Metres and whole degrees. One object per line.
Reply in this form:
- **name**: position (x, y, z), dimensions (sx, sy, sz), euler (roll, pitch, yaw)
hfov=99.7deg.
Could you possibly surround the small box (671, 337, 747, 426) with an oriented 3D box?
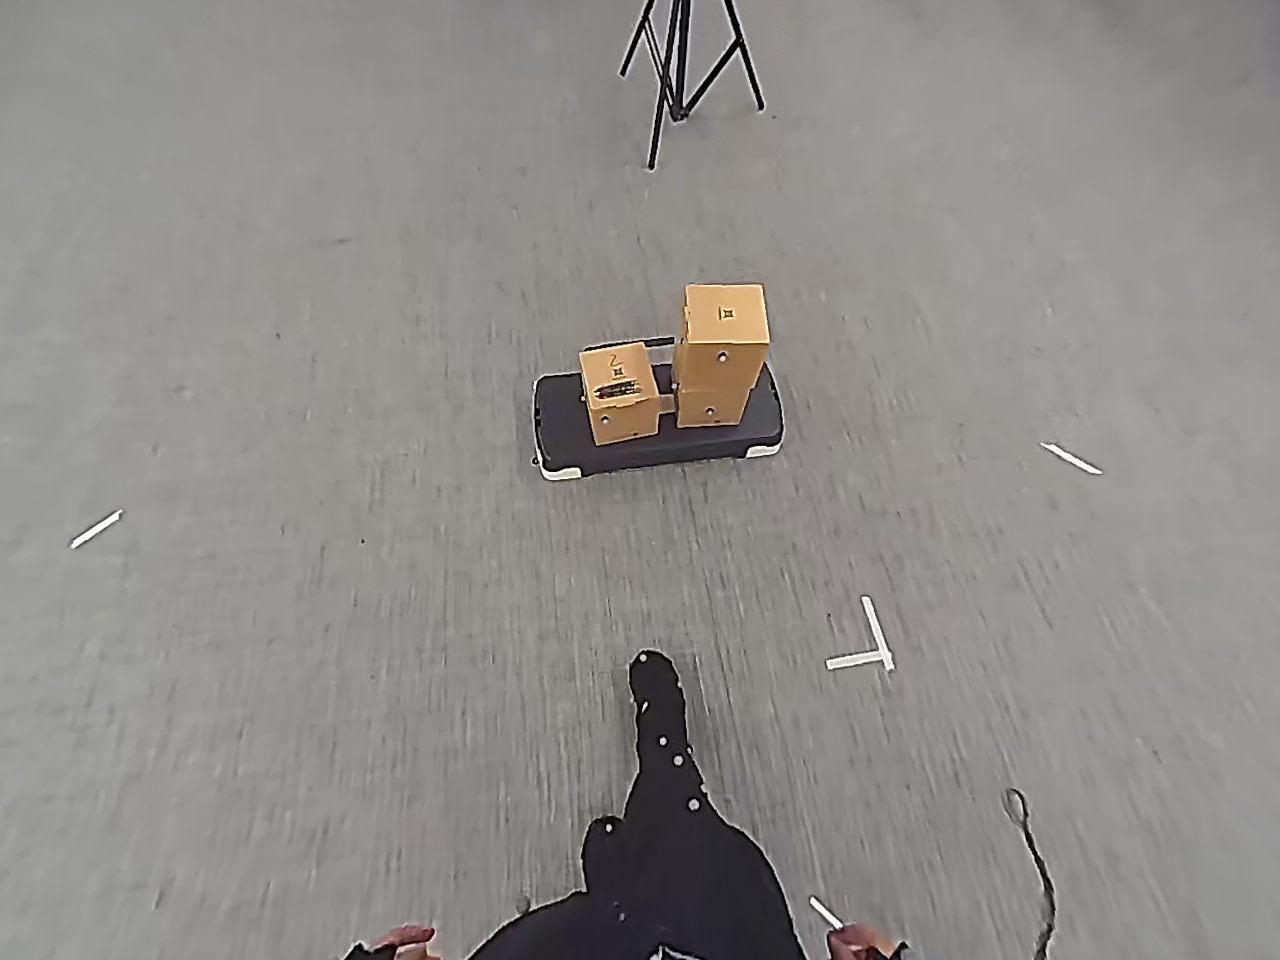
- **small box**: position (0.170, -0.248, 1.387), dimensions (0.168, 0.176, 0.179), euler (-3, 64, -2)

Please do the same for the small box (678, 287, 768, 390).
- **small box**: position (0.183, -0.319, 1.240), dimensions (0.179, 0.176, 0.168), euler (-1, 65, 0)
